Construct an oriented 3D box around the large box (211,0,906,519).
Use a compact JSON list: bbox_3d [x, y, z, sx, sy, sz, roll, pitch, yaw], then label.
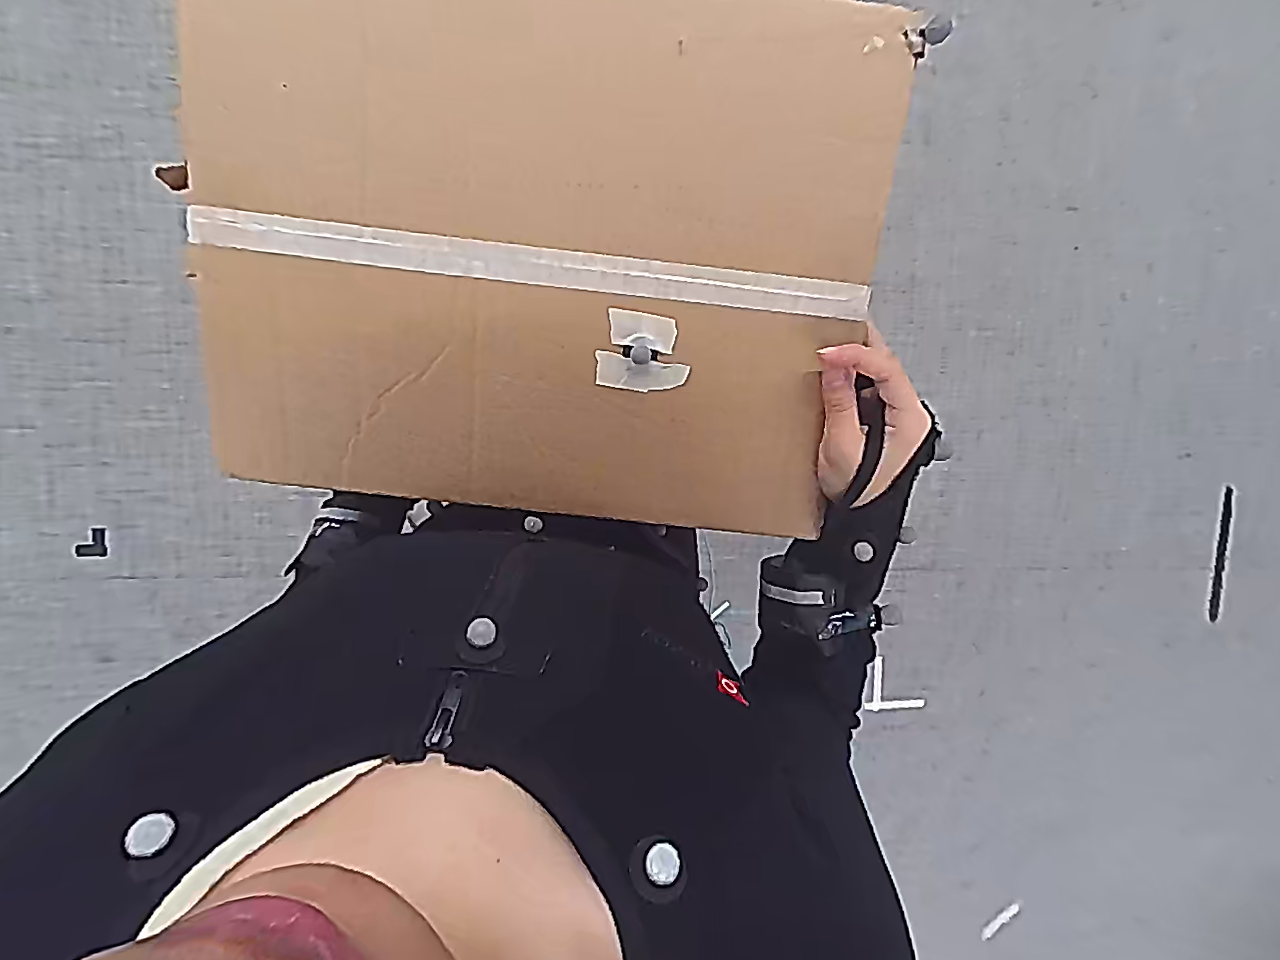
[{"bbox_3d":[-0.060,-0.169,0.484,0.408,0.320,0.320,5,105,-3],"label":"large box"}]
